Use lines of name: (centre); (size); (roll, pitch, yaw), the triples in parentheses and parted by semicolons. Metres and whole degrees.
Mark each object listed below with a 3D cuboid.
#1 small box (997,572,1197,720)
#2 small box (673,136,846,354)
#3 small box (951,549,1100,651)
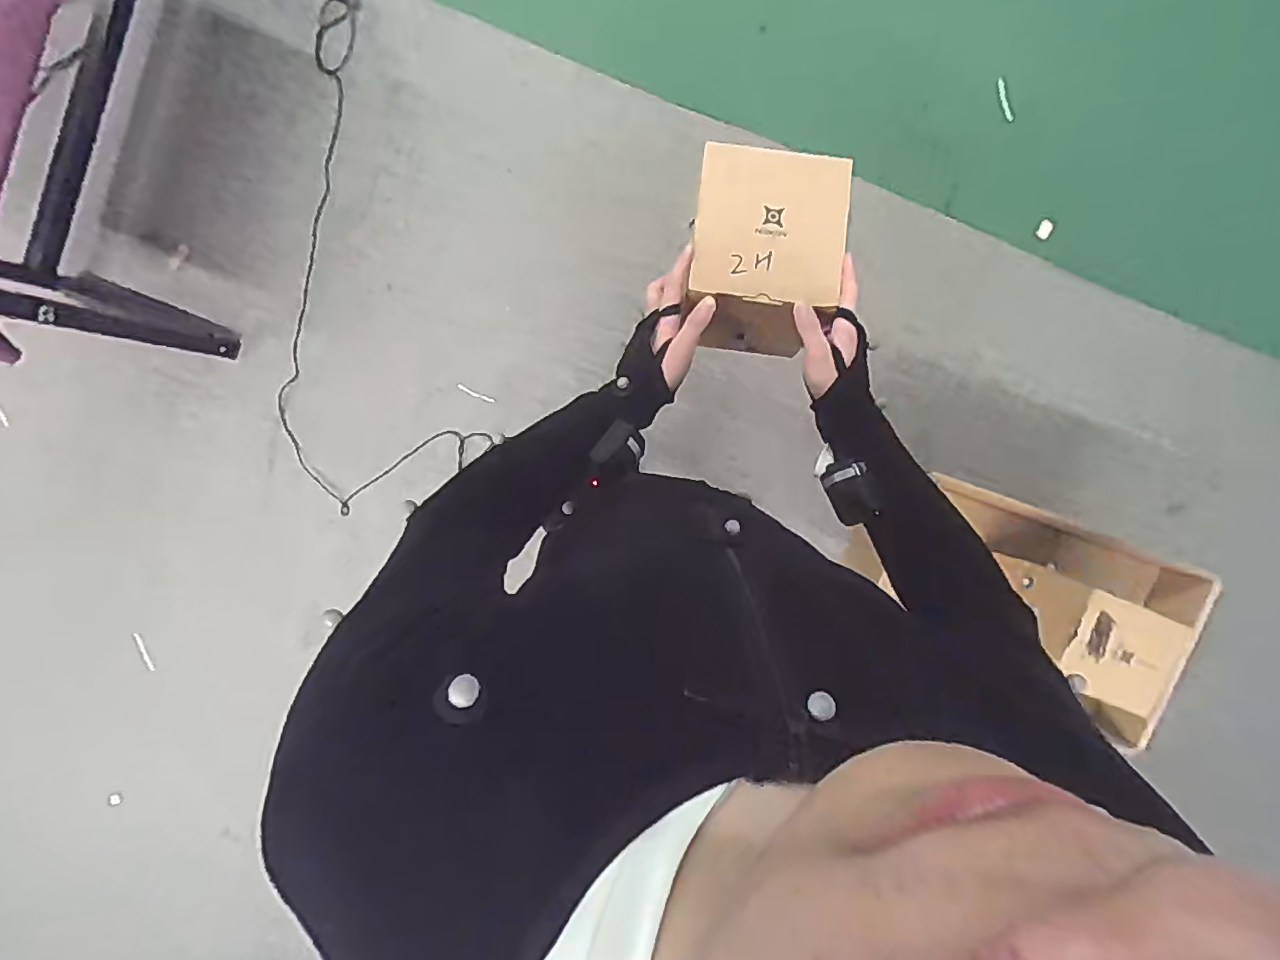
small box: (0.780, 0.277, 0.948); (0.179, 0.176, 0.168); (23, 96, -1)
small box: (0.134, -0.273, 0.660); (0.168, 0.176, 0.179); (7, 85, 1)
small box: (0.782, 0.259, 1.111); (0.168, 0.176, 0.179); (21, 96, 0)
